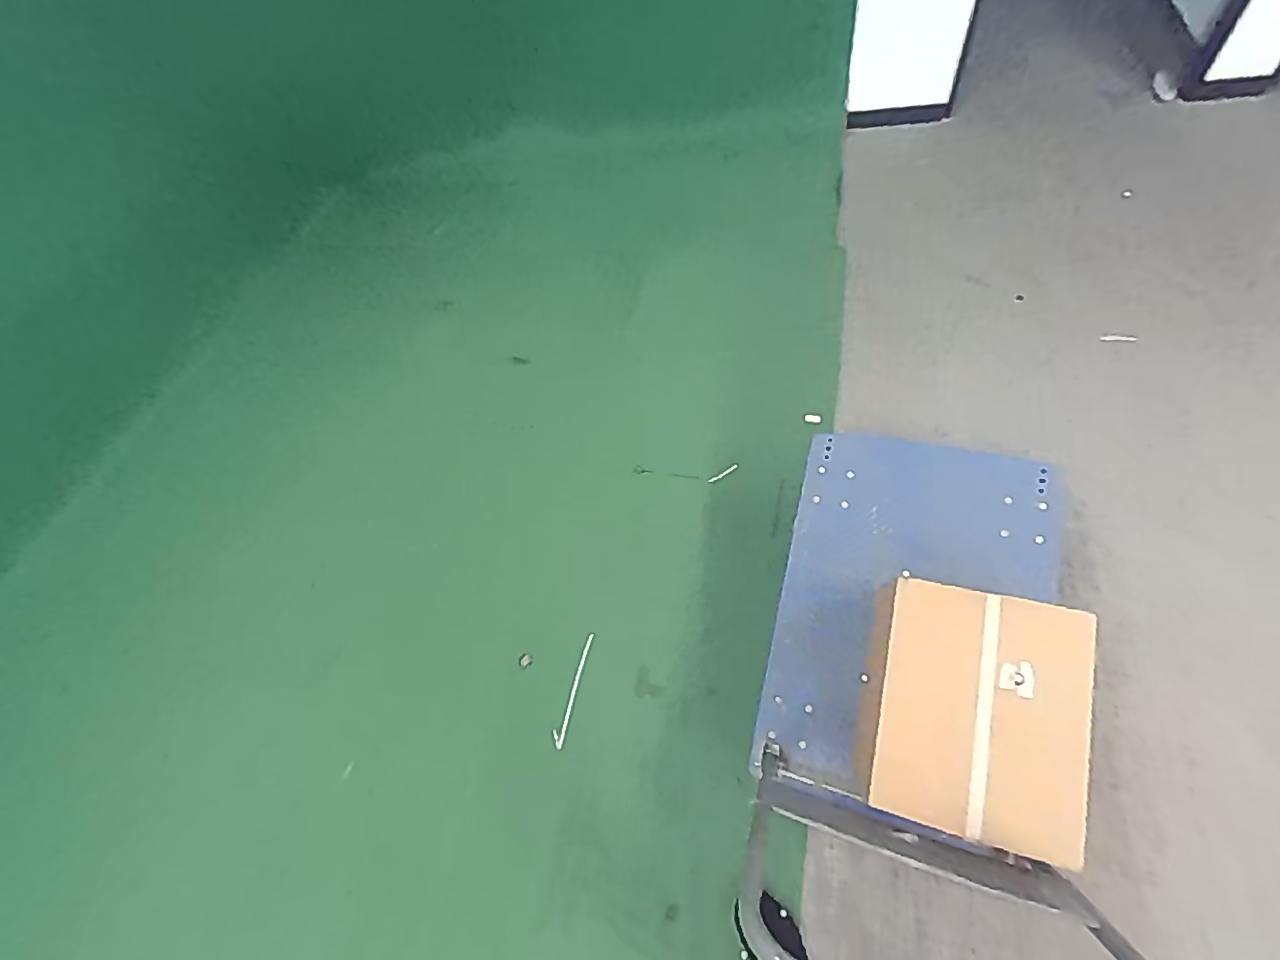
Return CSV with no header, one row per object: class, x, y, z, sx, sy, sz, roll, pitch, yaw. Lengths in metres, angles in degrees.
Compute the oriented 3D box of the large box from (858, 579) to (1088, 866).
large box,0.627,0.440,1.070,0.320,0.320,0.408,9,76,18
